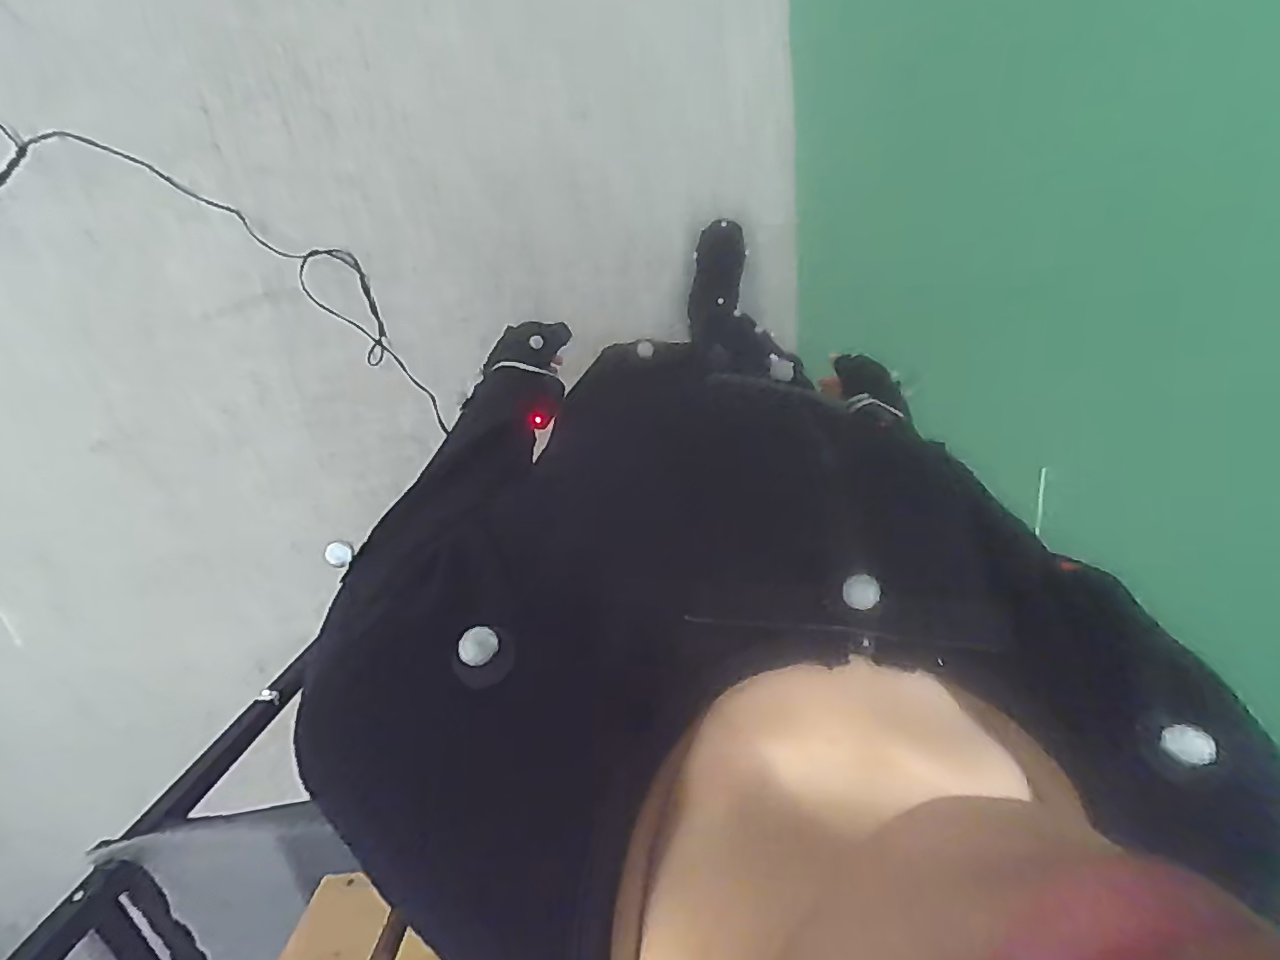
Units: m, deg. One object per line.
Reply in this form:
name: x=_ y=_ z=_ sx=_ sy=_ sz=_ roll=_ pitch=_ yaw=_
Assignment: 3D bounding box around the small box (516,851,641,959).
small box: x=-0.093 y=0.770 z=0.911 sx=0.168 sy=0.176 sz=0.179 roll=-9 pitch=108 yaw=4
